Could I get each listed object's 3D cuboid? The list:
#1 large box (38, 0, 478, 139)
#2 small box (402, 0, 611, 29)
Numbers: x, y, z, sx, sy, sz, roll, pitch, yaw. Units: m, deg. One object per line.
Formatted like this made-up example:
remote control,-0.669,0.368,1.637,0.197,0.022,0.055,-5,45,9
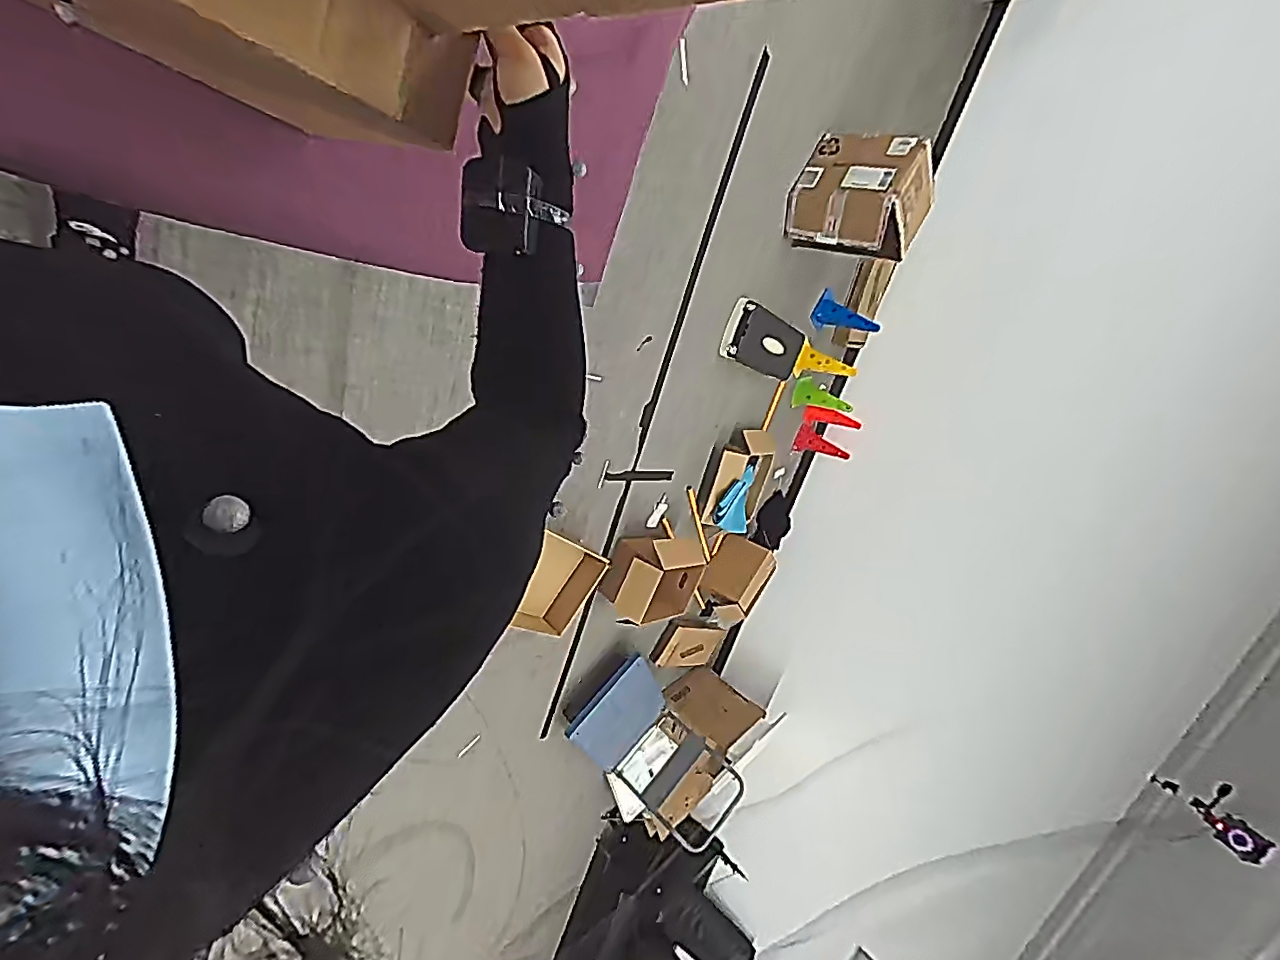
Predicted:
large box,-0.328,-0.464,0.321,0.408,0.320,0.320,1,112,-51
small box,-0.091,-0.366,0.256,0.168,0.176,0.179,11,105,-52
